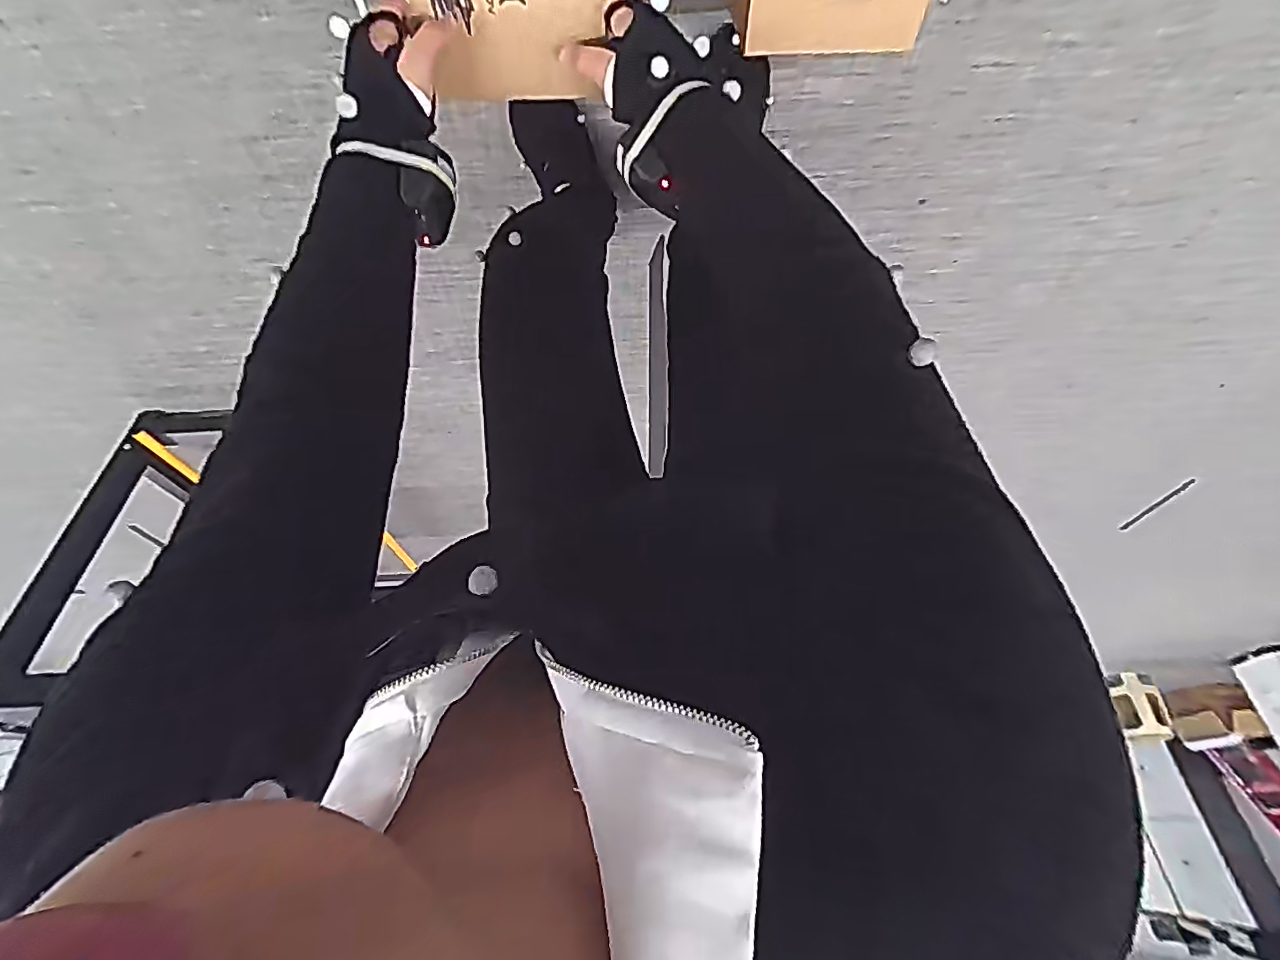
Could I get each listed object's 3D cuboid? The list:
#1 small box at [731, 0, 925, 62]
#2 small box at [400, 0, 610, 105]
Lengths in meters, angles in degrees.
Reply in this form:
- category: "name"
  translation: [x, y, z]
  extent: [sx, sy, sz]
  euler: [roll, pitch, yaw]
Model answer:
- category: "small box"
  translation: [0.178, -0.529, 0.504]
  extent: [0.168, 0.176, 0.179]
  euler: [-1, 148, 0]
- category: "small box"
  translation: [-0.118, -0.470, 0.499]
  extent: [0.179, 0.176, 0.168]
  euler: [-2, 143, -2]
